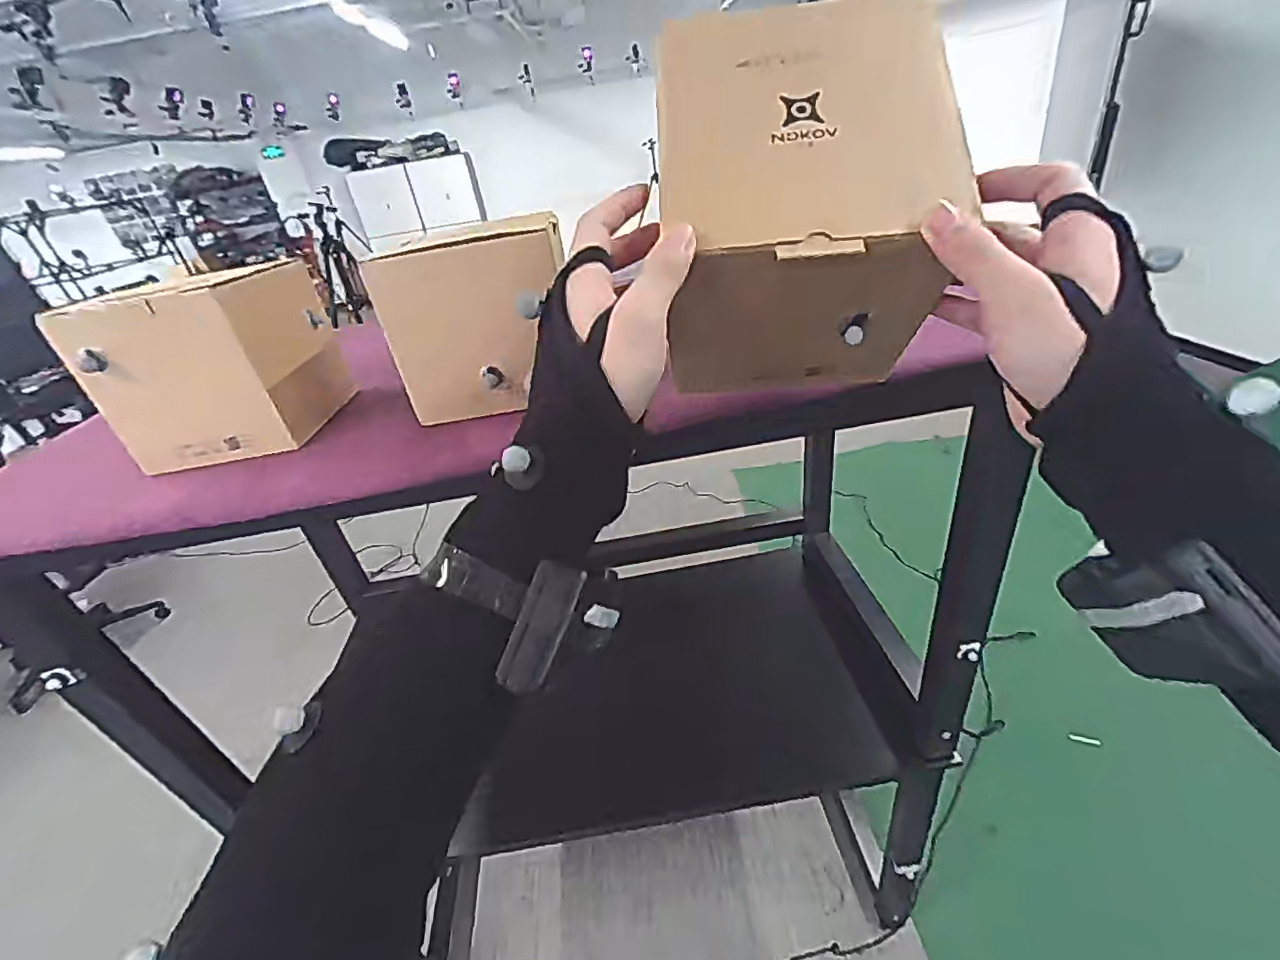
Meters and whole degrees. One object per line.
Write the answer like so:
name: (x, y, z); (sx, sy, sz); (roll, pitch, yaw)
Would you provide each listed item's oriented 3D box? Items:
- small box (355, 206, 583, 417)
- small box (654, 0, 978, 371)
small box: (-0.160, -0.183, 0.583); (0.179, 0.176, 0.168); (-9, 31, 0)
small box: (0.099, -0.187, 0.379); (0.168, 0.176, 0.179); (-1, 72, 6)
